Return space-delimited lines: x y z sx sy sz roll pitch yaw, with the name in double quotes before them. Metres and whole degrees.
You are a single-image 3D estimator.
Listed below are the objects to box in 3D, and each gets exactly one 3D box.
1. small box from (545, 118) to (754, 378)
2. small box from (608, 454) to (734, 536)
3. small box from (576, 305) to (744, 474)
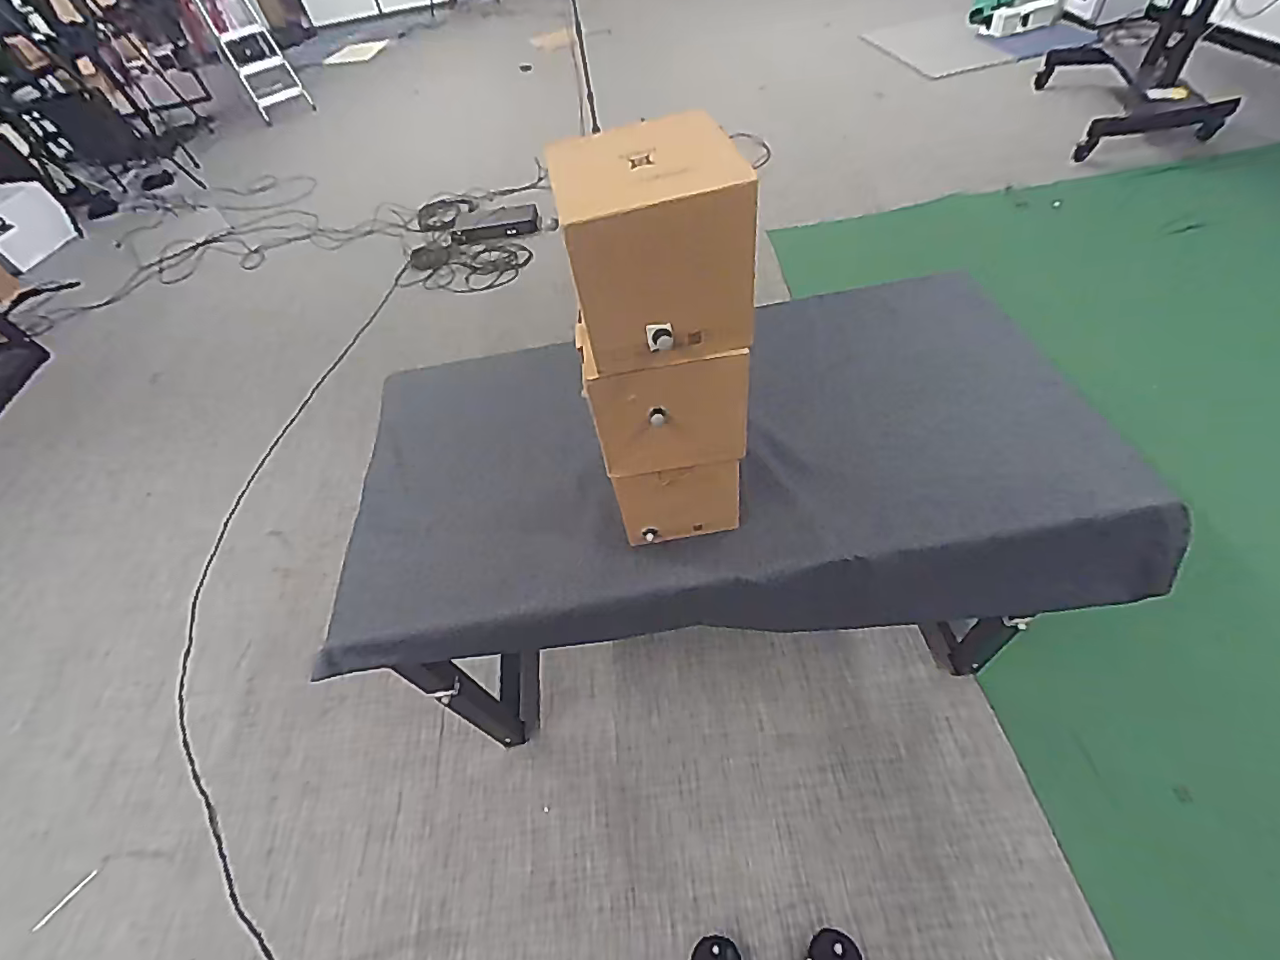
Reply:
"small box" 0.009 -0.234 0.554 0.168 0.176 0.179 -14 52 -1
"small box" 0.044 -0.031 0.807 0.168 0.176 0.179 -10 50 2
"small box" 0.026 -0.127 0.679 0.179 0.176 0.168 -11 49 0
